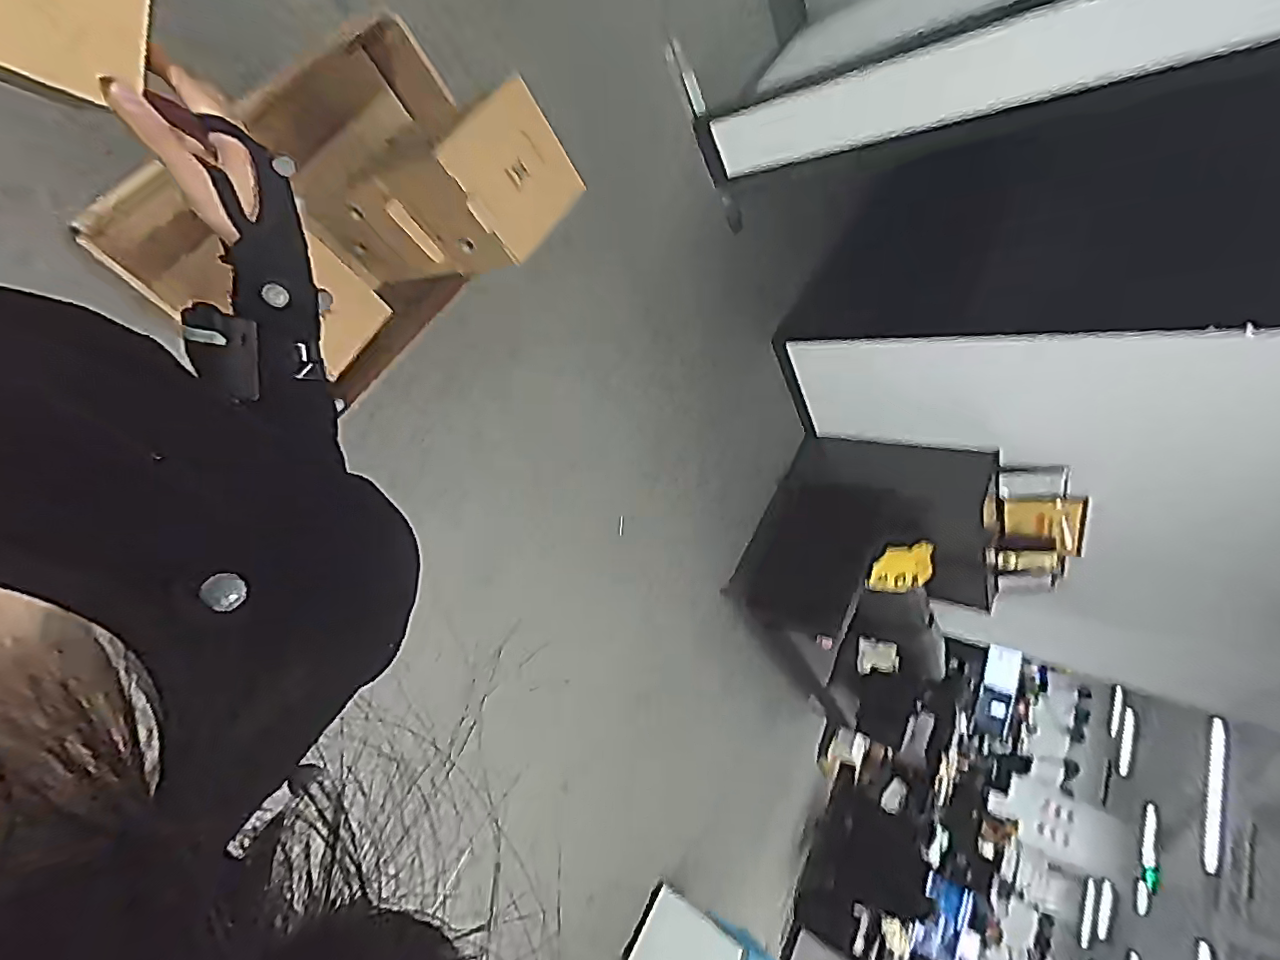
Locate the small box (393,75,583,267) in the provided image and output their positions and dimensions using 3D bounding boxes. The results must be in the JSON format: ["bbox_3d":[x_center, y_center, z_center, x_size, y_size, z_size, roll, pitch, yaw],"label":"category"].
[{"bbox_3d":[-0.223,-0.427,0.778,0.179,0.176,0.168,-57,136,-19],"label":"small box"}]

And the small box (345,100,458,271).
[{"bbox_3d":[-0.345,-0.464,0.880,0.168,0.176,0.179,48,65,-44],"label":"small box"}]
